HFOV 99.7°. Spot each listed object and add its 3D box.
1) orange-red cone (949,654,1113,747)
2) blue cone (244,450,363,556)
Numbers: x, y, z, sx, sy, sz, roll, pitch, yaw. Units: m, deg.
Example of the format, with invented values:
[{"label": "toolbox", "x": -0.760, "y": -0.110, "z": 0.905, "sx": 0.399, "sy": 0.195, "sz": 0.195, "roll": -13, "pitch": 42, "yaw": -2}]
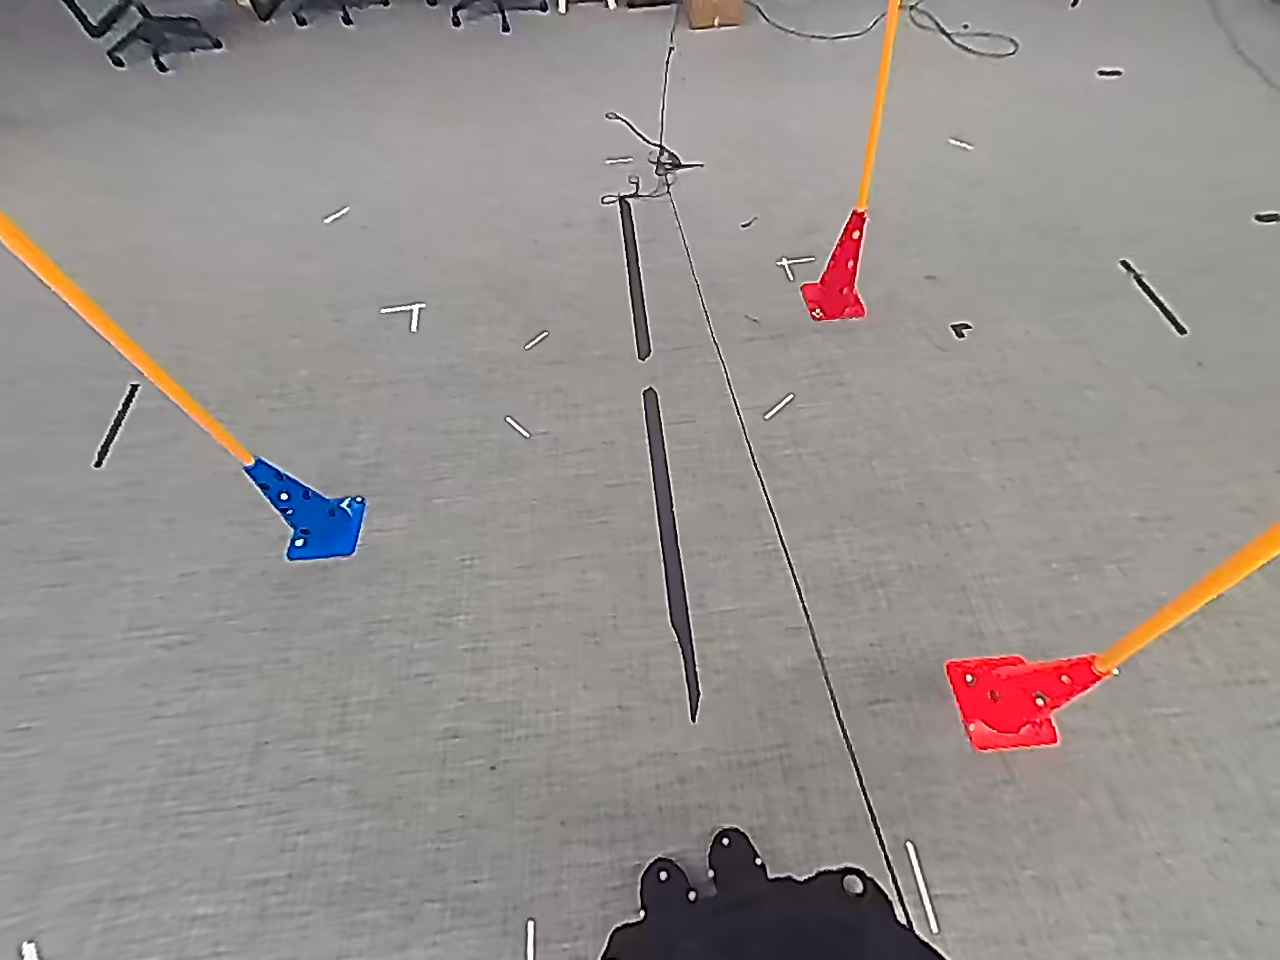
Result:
[{"label": "orange-red cone", "x": 0.833, "y": 0.421, "z": 1.110, "sx": 0.198, "sy": 0.360, "sz": 0.199, "roll": -4, "pitch": 59, "yaw": 1}, {"label": "blue cone", "x": -0.940, "y": 0.049, "z": 1.470, "sx": 0.193, "sy": 0.380, "sz": 0.192, "roll": -3, "pitch": 57, "yaw": 1}]
